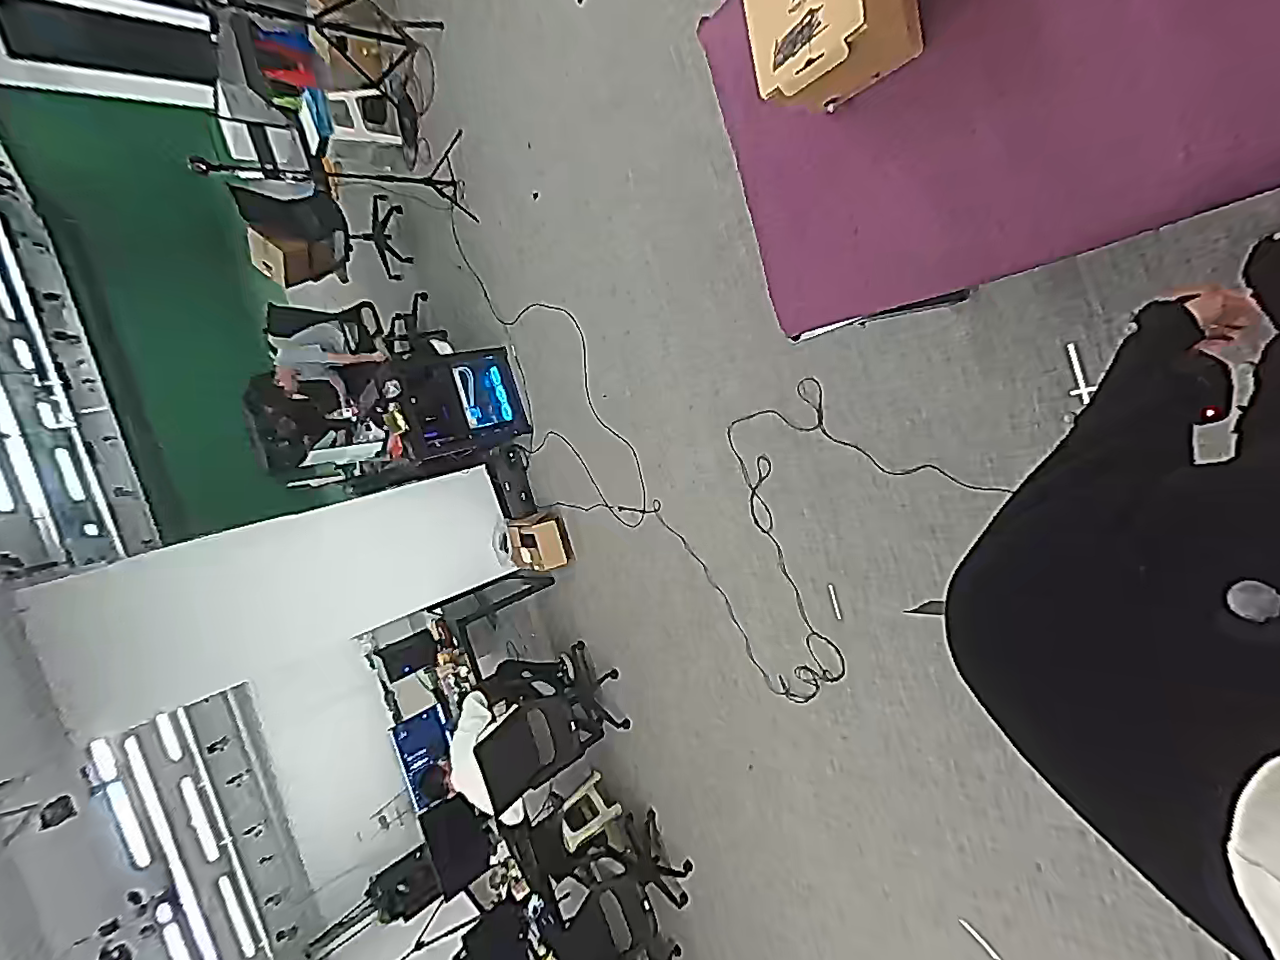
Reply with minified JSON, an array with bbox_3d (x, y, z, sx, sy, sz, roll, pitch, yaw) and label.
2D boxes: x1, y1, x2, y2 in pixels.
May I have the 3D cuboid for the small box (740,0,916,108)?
[{"bbox_3d":[0.268,-0.662,0.767,0.168,0.176,0.179,-3,104,51],"label":"small box"}]
